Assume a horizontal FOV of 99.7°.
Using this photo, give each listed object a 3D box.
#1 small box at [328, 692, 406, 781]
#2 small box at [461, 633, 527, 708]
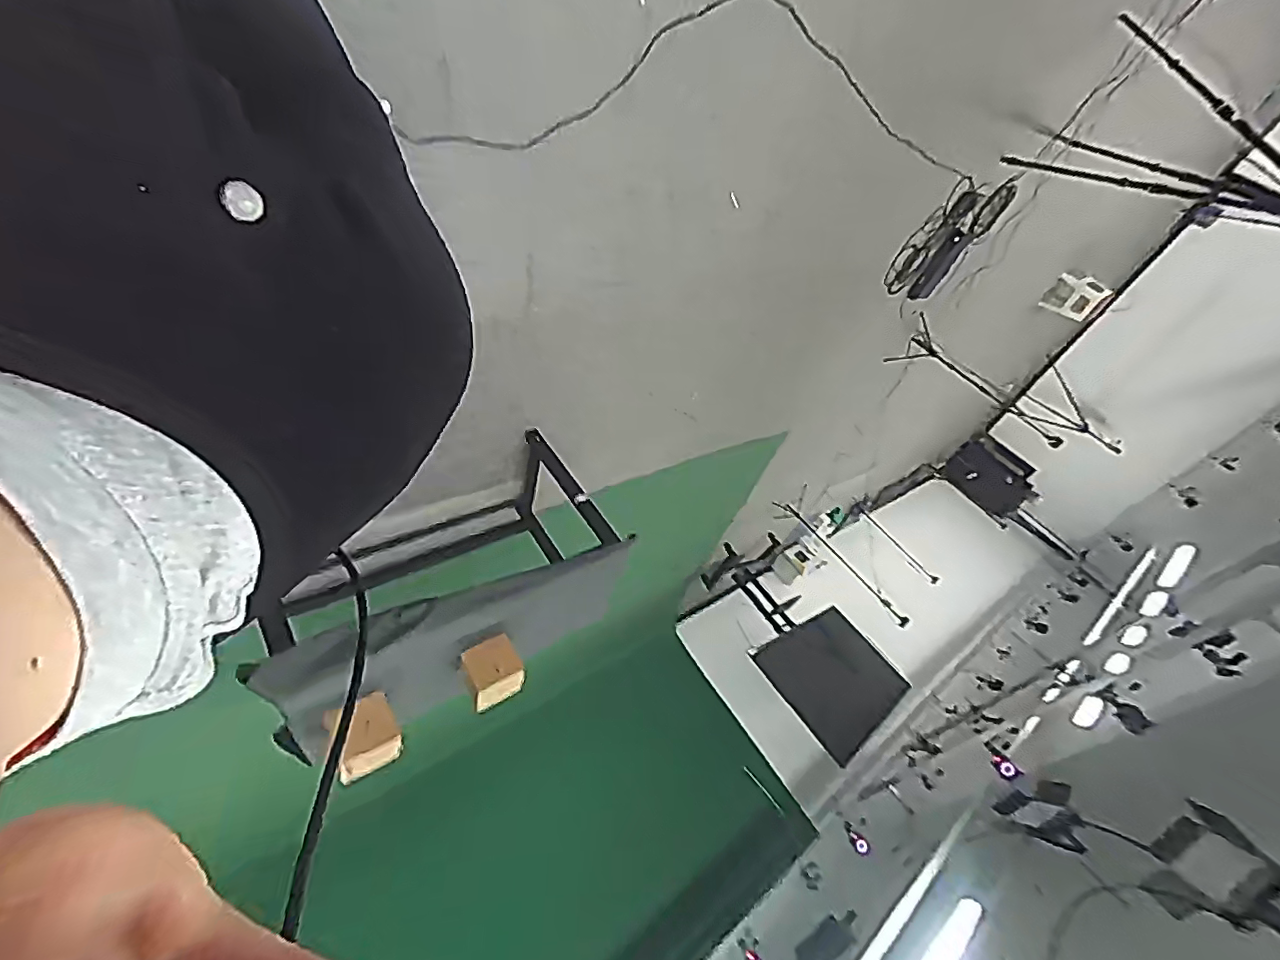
[{"bbox_3d":[-0.871,0.811,1.725,0.179,0.176,0.168,-17,145,-39],"label":"small box"},{"bbox_3d":[-0.536,0.693,1.979,0.179,0.176,0.168,-19,146,-33],"label":"small box"}]
